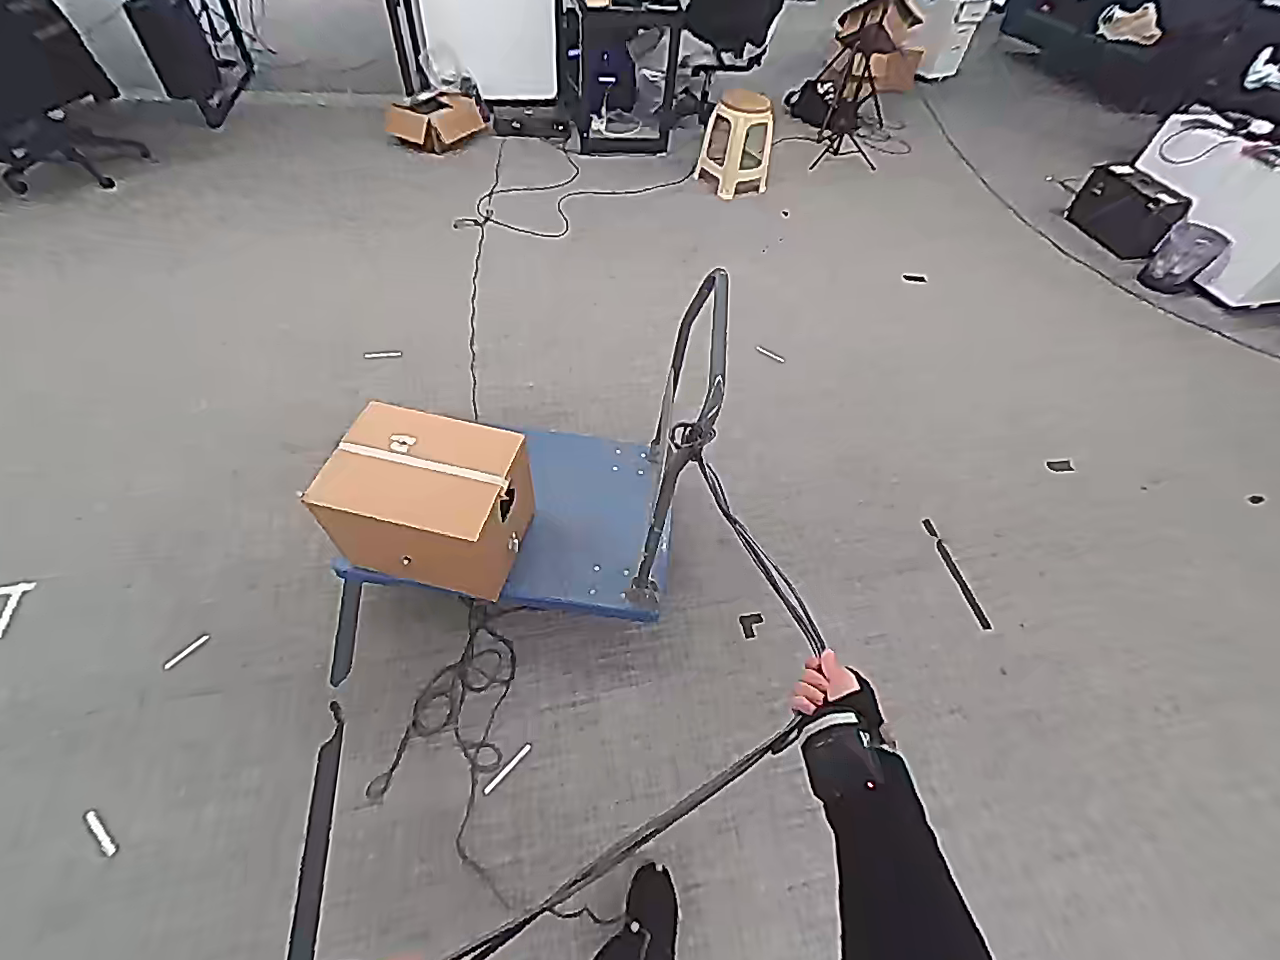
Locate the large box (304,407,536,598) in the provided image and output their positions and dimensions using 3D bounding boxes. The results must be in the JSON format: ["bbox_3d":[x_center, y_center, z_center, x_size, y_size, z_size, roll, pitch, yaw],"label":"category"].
[{"bbox_3d":[-0.507,0.063,1.353,0.408,0.320,0.320,12,53,4],"label":"large box"}]
